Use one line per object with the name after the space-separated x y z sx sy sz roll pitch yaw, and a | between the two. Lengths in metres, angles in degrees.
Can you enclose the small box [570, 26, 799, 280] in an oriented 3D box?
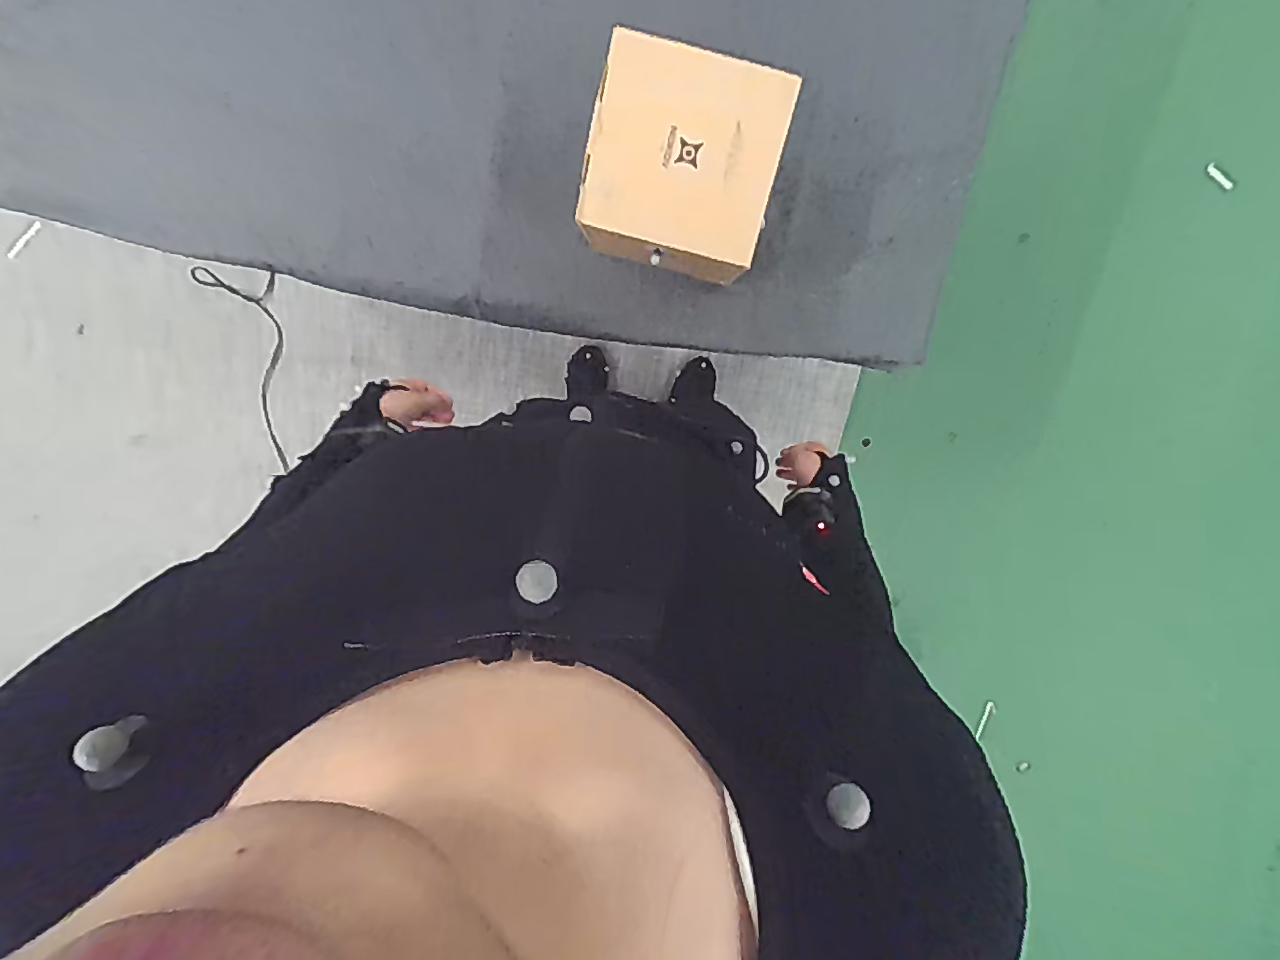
0.040 -0.317 0.565 0.179 0.176 0.168 14 105 -2 | small box
